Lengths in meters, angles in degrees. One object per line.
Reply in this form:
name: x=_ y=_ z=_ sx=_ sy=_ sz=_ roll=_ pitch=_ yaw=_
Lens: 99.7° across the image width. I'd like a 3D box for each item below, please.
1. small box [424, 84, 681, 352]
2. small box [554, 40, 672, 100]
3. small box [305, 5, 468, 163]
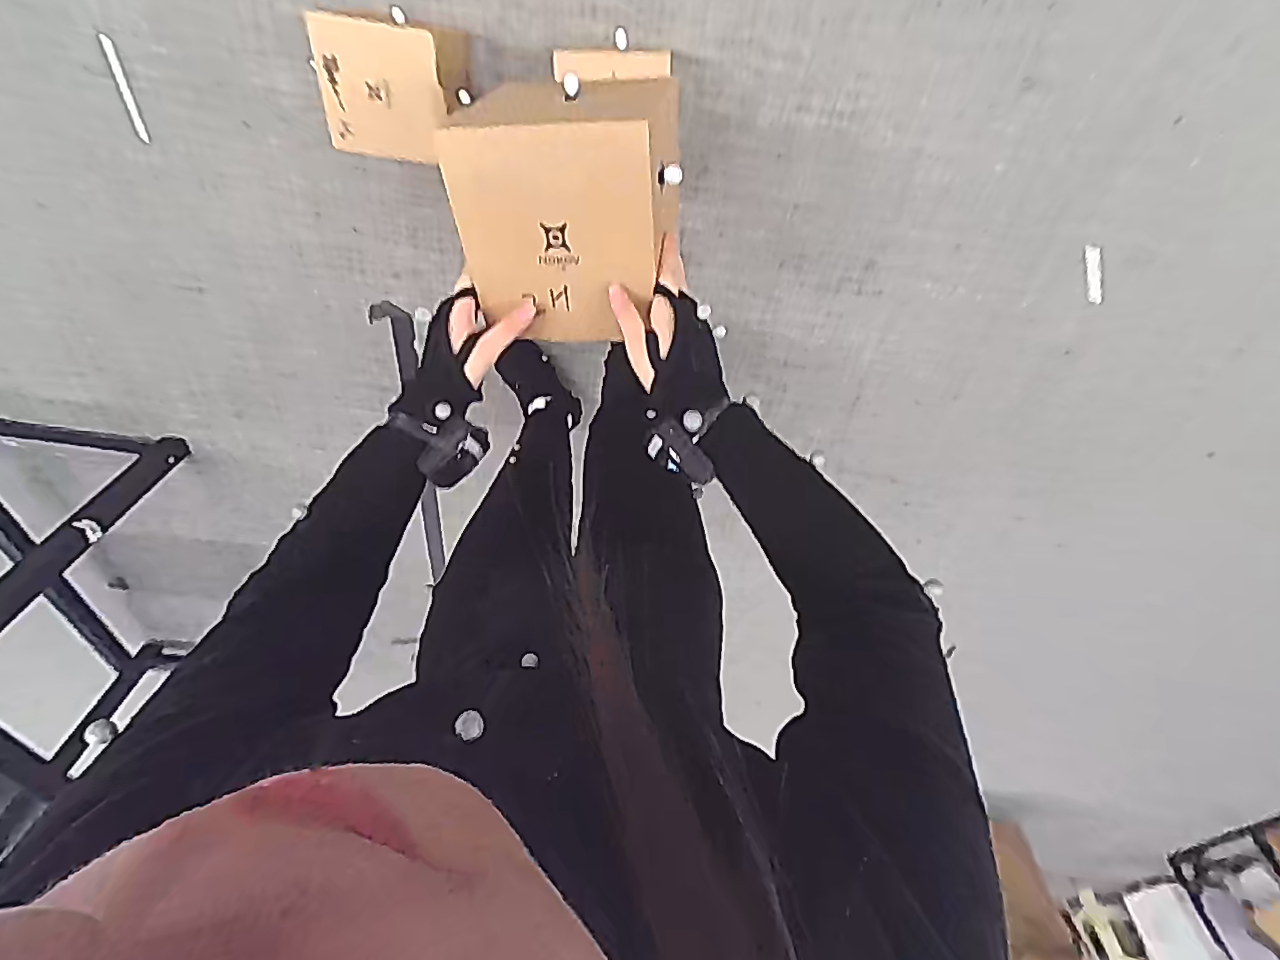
small box: x=-0.056 y=-0.236 z=0.481 sx=0.168 sy=0.176 sz=0.179 roll=5 pitch=135 yaw=10
small box: x=-0.036 y=-0.573 z=0.851 sx=0.168 sy=0.176 sz=0.179 roll=2 pitch=131 yaw=1
small box: x=-0.369 y=-0.609 z=0.832 sx=0.179 sy=0.176 sz=0.168 roll=7 pitch=132 yaw=-5
